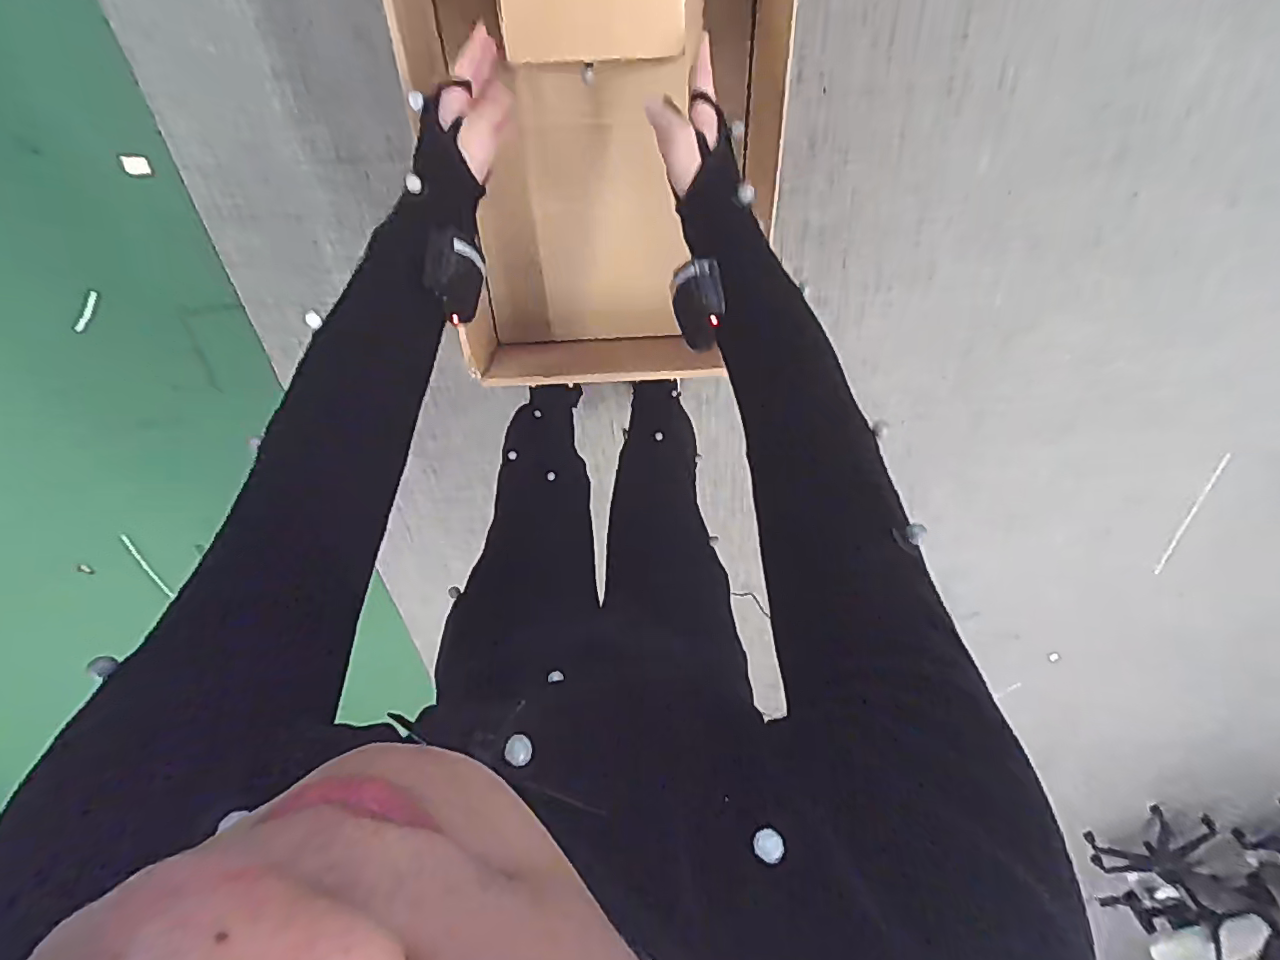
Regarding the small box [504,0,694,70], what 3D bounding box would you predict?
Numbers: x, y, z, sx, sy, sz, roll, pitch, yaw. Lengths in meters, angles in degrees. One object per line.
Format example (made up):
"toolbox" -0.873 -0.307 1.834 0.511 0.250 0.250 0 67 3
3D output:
"small box" -0.043 -0.516 0.536 0.179 0.176 0.168 -3 125 0
